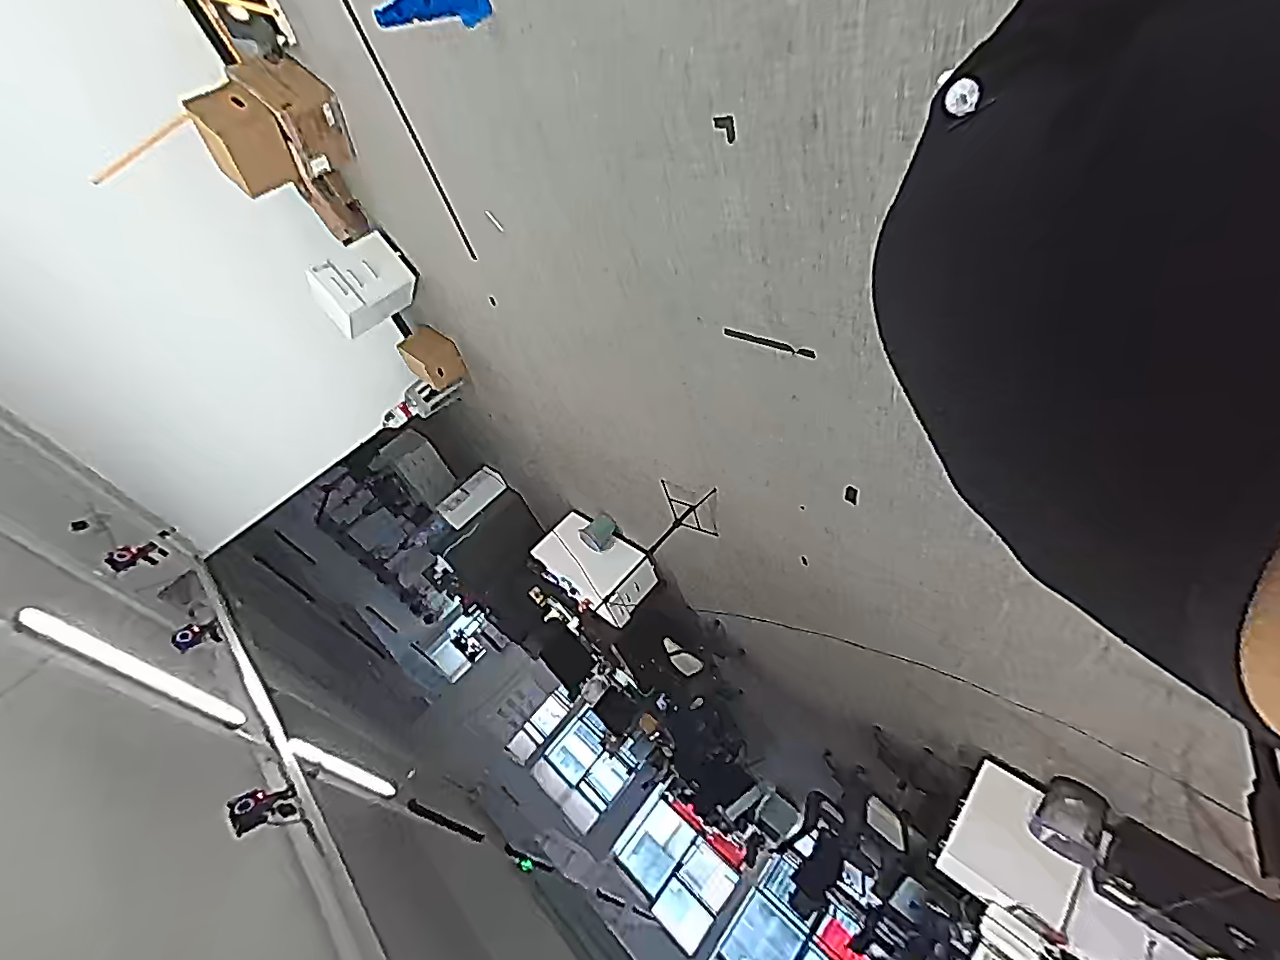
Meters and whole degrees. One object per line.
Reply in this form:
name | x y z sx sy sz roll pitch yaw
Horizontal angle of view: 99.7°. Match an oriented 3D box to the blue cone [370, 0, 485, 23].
blue cone | -0.726 -1.604 1.803 0.193 0.380 0.192 24 149 42
